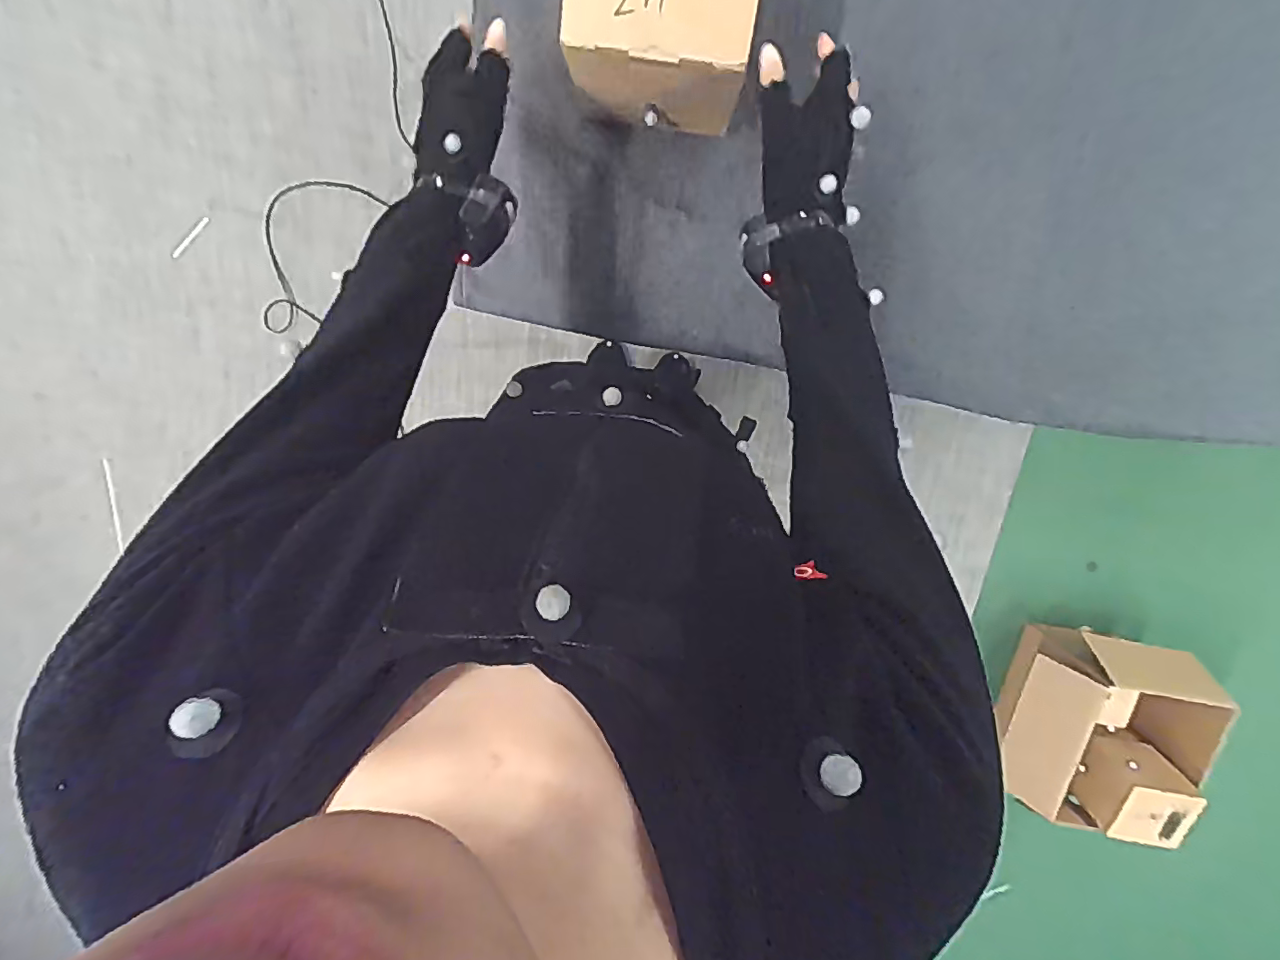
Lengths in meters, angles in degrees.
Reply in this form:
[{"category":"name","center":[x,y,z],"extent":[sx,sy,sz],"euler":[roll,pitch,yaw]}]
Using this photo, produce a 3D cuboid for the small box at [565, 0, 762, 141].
[{"category":"small box","center":[0.029,-0.467,0.528],"extent":[0.168,0.176,0.179],"euler":[8,105,0]}]
